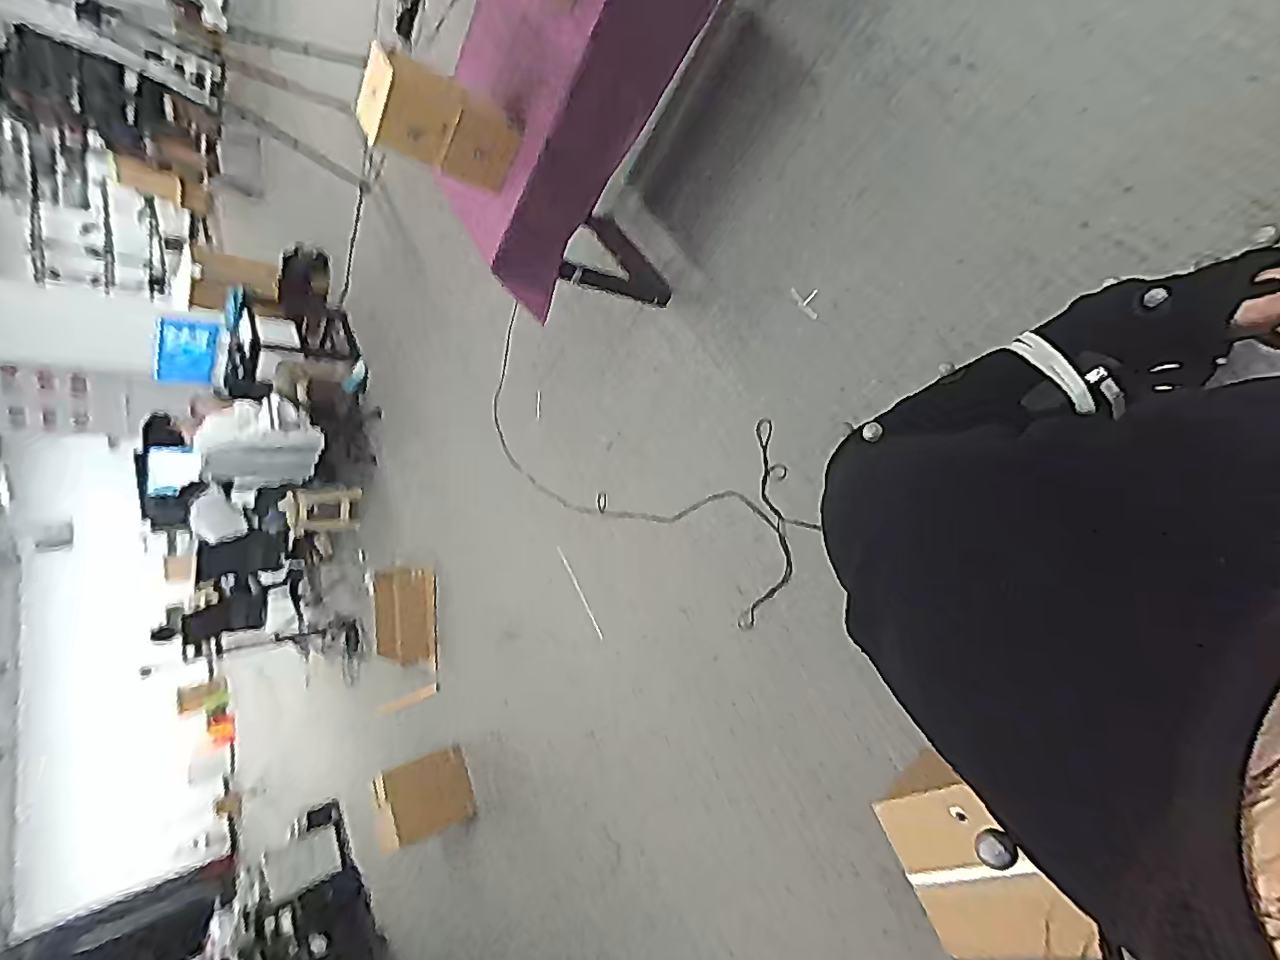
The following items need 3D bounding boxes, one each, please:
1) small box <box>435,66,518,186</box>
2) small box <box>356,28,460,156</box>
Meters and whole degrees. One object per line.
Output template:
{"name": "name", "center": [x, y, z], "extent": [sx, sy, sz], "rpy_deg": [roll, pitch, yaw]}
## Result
{"name": "small box", "center": [-0.439, -0.915, 1.410], "extent": [0.179, 0.176, 0.168], "rpy_deg": [-49, 59, 34]}
{"name": "small box", "center": [-0.553, -0.914, 1.293], "extent": [0.168, 0.176, 0.179], "rpy_deg": [-47, 59, 34]}
